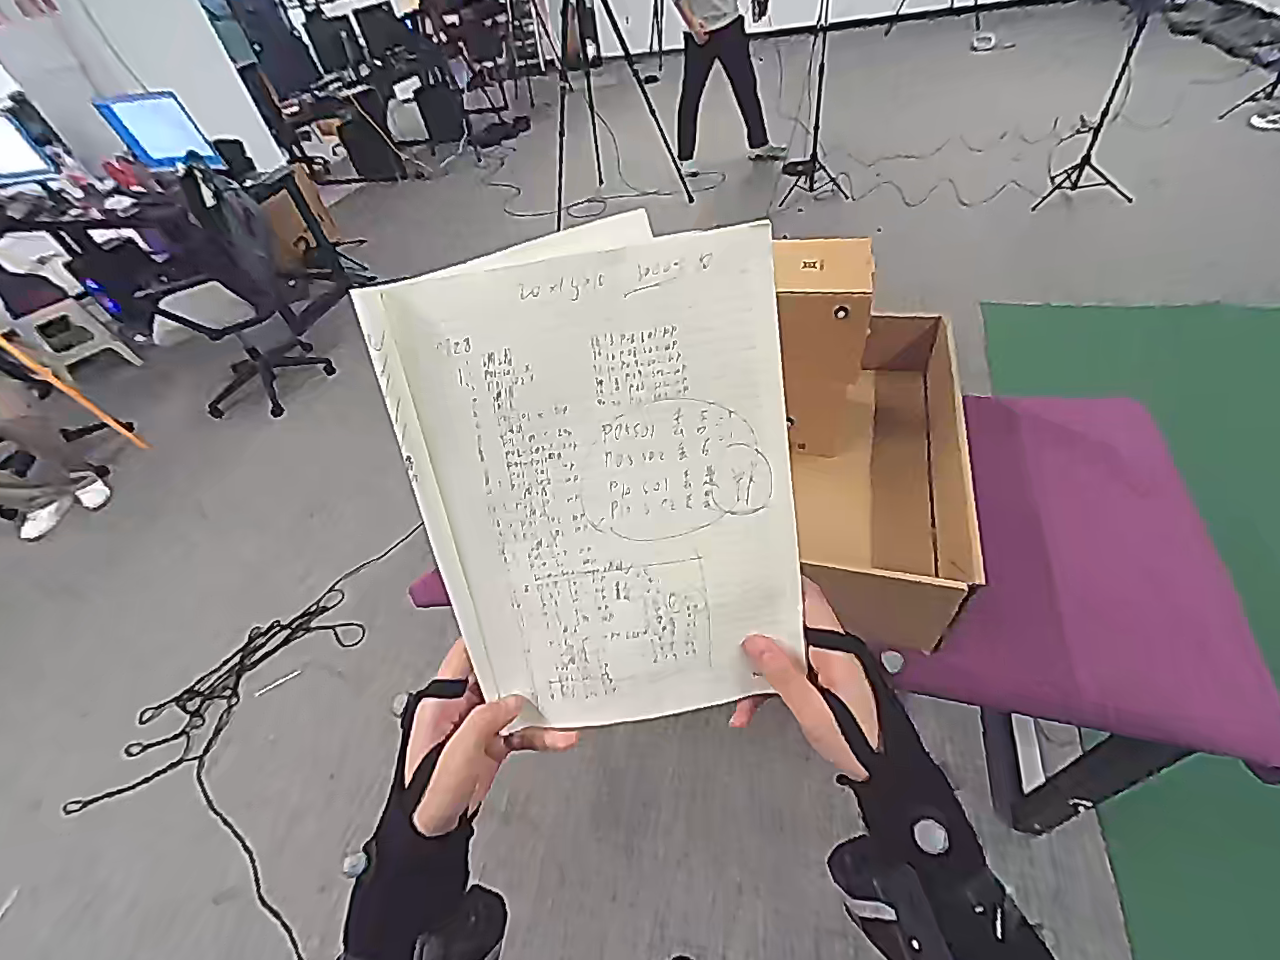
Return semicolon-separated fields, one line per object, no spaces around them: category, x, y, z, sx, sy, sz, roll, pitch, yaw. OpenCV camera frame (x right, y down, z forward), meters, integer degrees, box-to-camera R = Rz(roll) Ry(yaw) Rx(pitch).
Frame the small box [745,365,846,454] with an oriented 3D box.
small box;0.294;-0.168;1.007;0.168;0.176;0.179;8;50;18

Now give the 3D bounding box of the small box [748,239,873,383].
small box;0.275;-0.274;0.885;0.179;0.176;0.168;6;50;16
